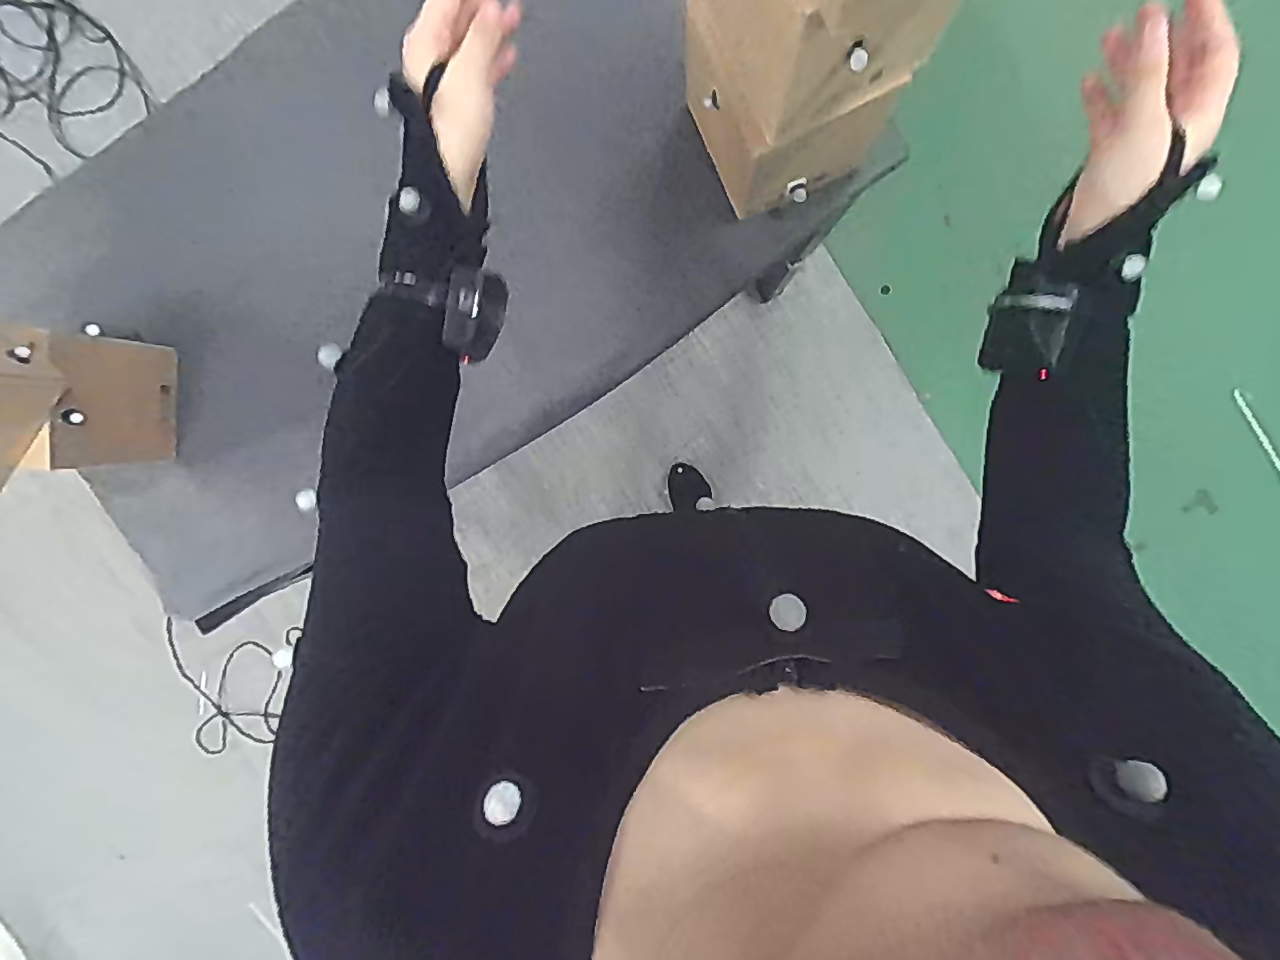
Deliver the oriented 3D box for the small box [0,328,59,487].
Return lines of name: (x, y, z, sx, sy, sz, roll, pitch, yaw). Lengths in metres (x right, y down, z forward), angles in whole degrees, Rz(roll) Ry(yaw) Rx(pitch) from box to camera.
small box: (-0.764, -0.092, 0.542, 0.168, 0.176, 0.179, 39, 97, -2)

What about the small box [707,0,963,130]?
small box: (0.160, -0.432, 0.444, 0.168, 0.176, 0.179, -26, 89, 7)

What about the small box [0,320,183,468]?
small box: (-0.756, -0.113, 0.706, 0.179, 0.176, 0.168, 8, 97, 2)

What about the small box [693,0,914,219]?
small box: (0.165, -0.435, 0.607, 0.168, 0.176, 0.179, -24, 91, 8)
